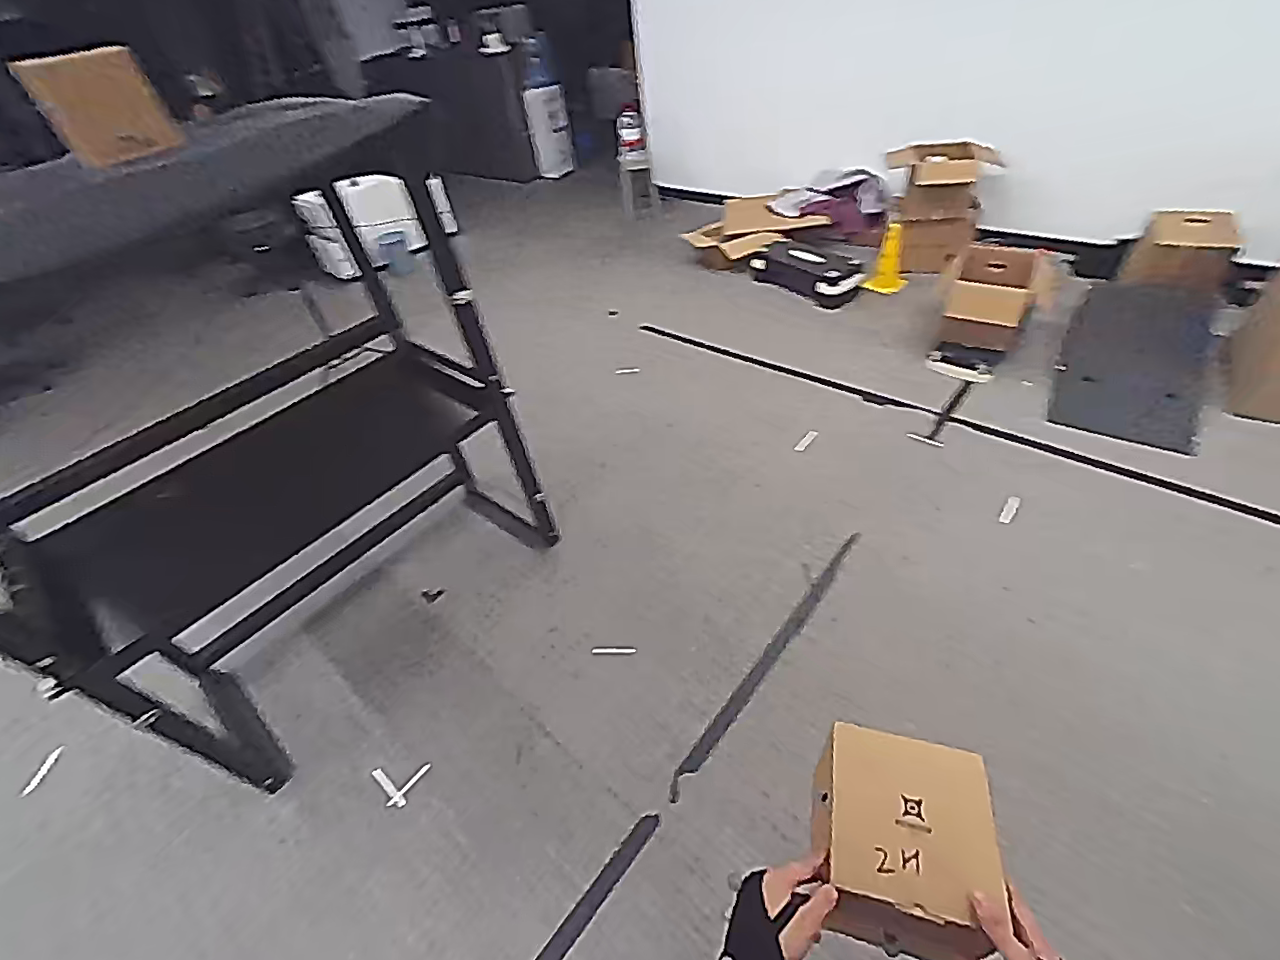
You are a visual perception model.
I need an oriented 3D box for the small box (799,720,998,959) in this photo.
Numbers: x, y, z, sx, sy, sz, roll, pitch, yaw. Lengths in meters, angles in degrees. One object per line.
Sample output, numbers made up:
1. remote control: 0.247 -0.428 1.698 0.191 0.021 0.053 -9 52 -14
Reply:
1. small box: 0.285 0.422 0.639 0.168 0.176 0.179 7 43 13
